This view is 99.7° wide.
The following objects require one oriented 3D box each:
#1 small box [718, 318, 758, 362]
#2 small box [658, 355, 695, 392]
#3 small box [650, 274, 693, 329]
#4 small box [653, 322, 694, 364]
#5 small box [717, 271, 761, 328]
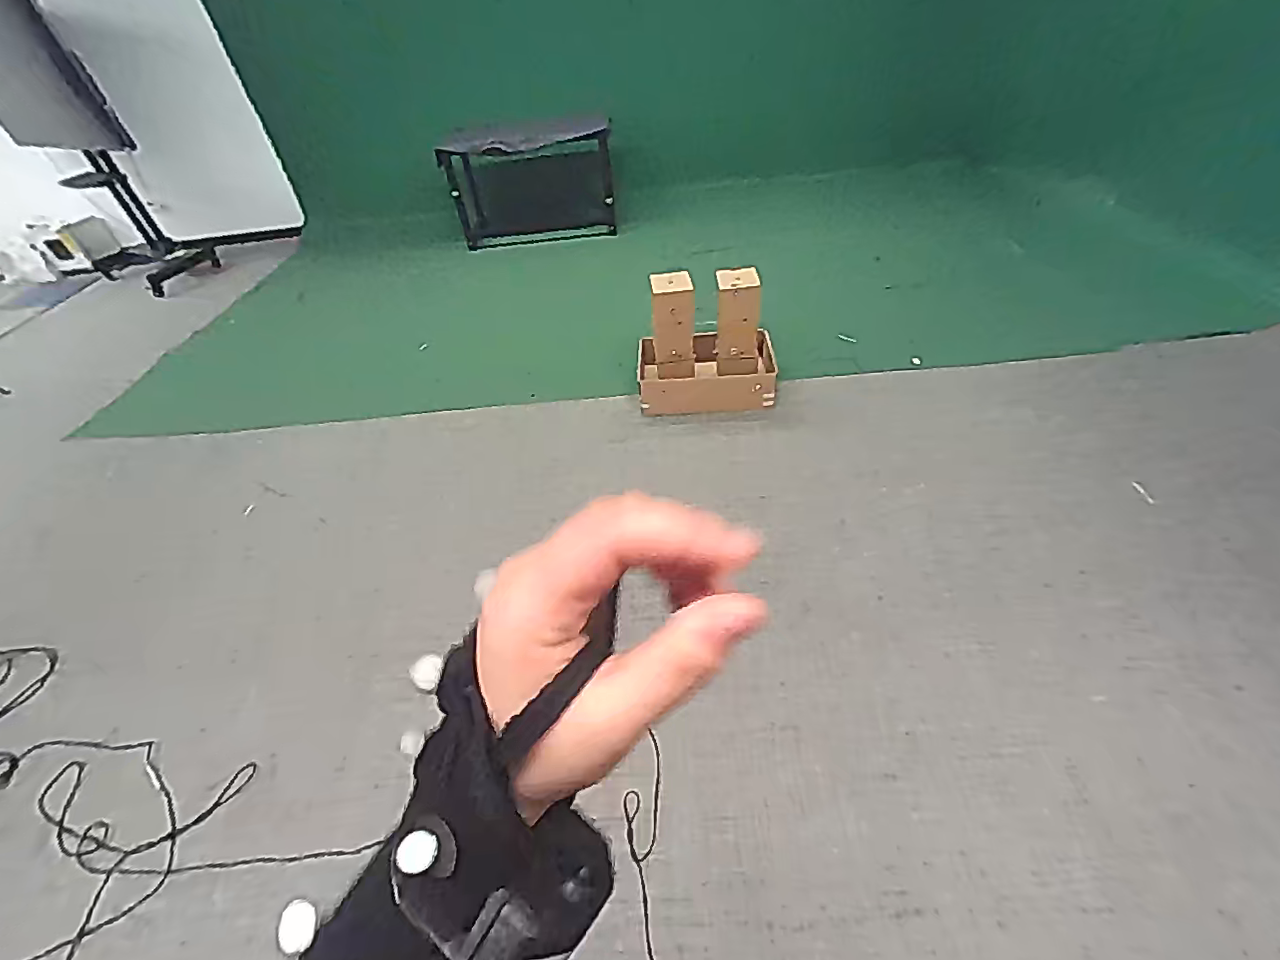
[{"bbox_3d":[0.431,-0.645,2.402,0.168,0.176,0.179,-3,46,7],"label":"small box"},{"bbox_3d":[0.169,-0.535,2.561,0.168,0.176,0.179,-5,44,1],"label":"small box"},{"bbox_3d":[0.137,-0.760,2.322,0.168,0.176,0.179,-6,44,-1],"label":"small box"},{"bbox_3d":[0.148,-0.644,2.438,0.168,0.176,0.179,-7,46,0],"label":"small box"},{"bbox_3d":[0.413,-0.763,2.288,0.168,0.176,0.179,-5,43,5],"label":"small box"}]
